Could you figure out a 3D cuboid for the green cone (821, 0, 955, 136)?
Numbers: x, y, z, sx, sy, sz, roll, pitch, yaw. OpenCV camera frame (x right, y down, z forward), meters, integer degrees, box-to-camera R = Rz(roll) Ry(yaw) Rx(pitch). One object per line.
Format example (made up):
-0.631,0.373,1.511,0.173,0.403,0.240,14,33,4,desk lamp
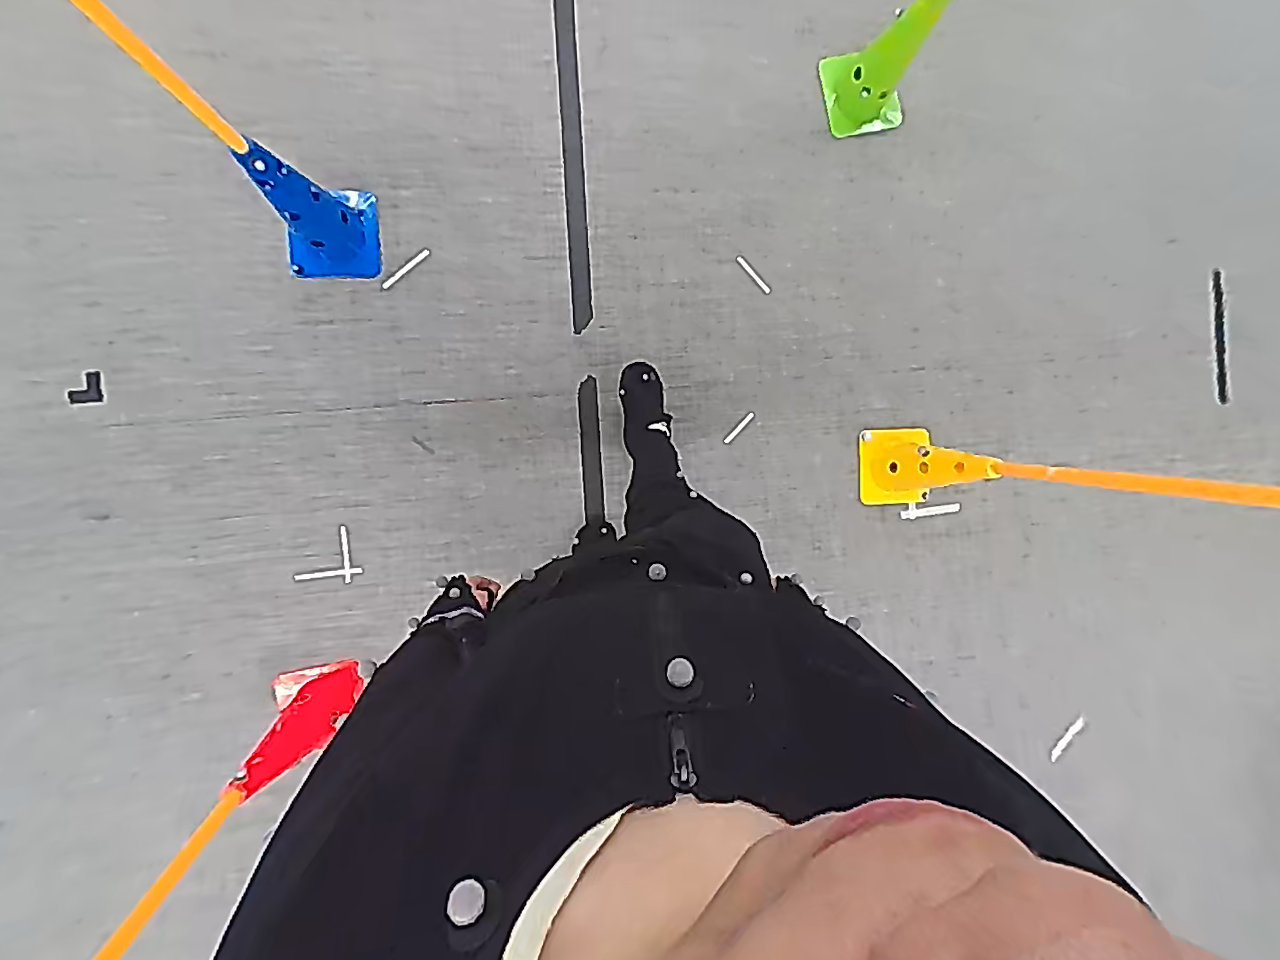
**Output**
0.595,-0.995,1.228,0.200,0.368,0.202,-15,95,-6,green cone

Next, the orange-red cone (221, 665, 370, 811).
-0.732,0.552,1.113,0.199,0.360,0.198,-9,93,-8,orange-red cone

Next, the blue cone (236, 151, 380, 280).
-0.692,-0.558,1.100,0.193,0.380,0.192,-1,92,-7,blue cone
